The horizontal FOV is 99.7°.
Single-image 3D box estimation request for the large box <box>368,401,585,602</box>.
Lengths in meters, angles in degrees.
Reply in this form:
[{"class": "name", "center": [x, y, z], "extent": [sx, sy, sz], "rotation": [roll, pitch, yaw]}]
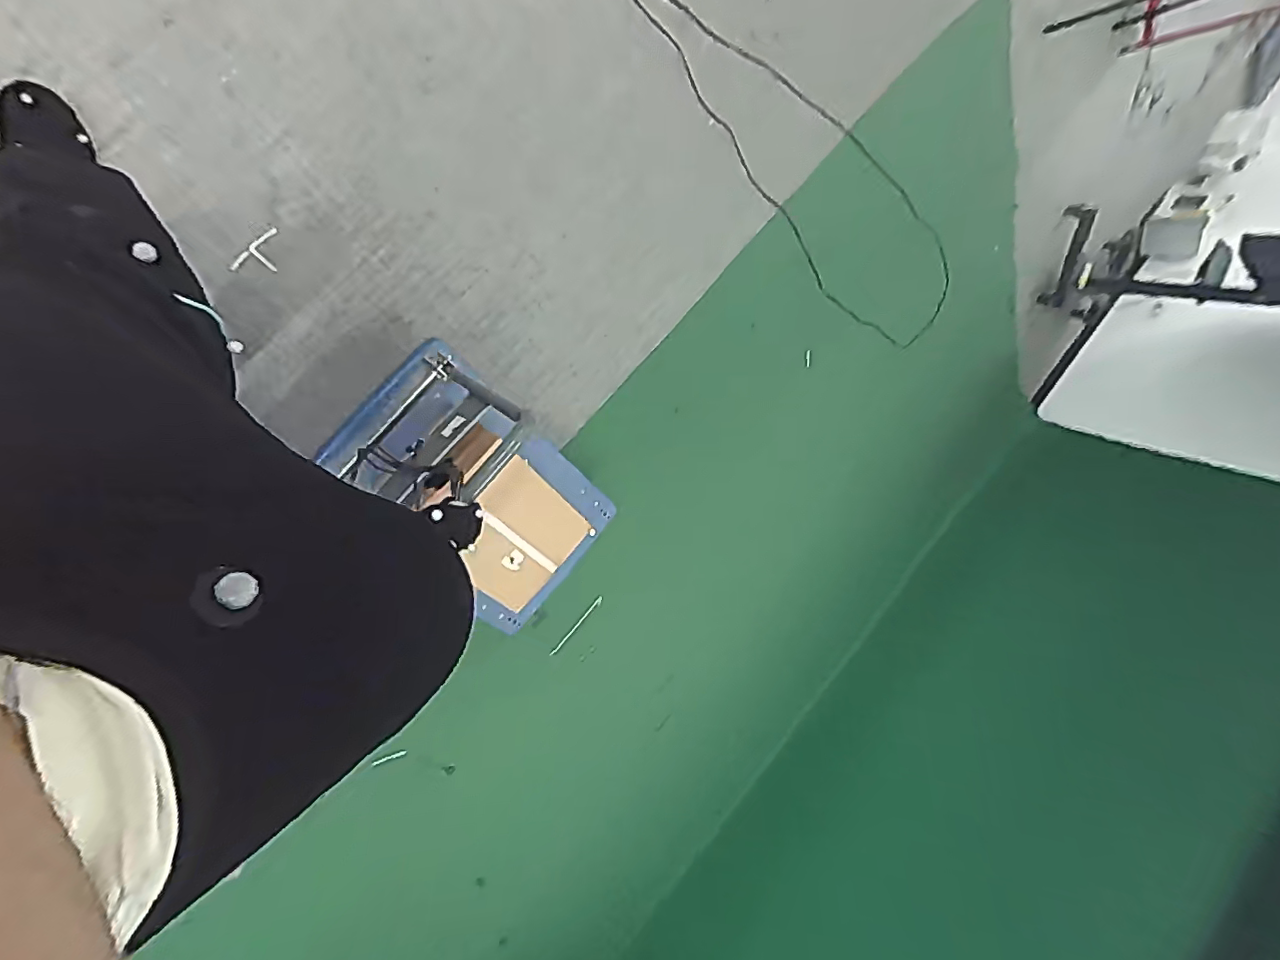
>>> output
[{"class": "large box", "center": [-0.432, 0.055, 1.452], "extent": [0.320, 0.320, 0.408], "rotation": [-48, 133, -9]}]
